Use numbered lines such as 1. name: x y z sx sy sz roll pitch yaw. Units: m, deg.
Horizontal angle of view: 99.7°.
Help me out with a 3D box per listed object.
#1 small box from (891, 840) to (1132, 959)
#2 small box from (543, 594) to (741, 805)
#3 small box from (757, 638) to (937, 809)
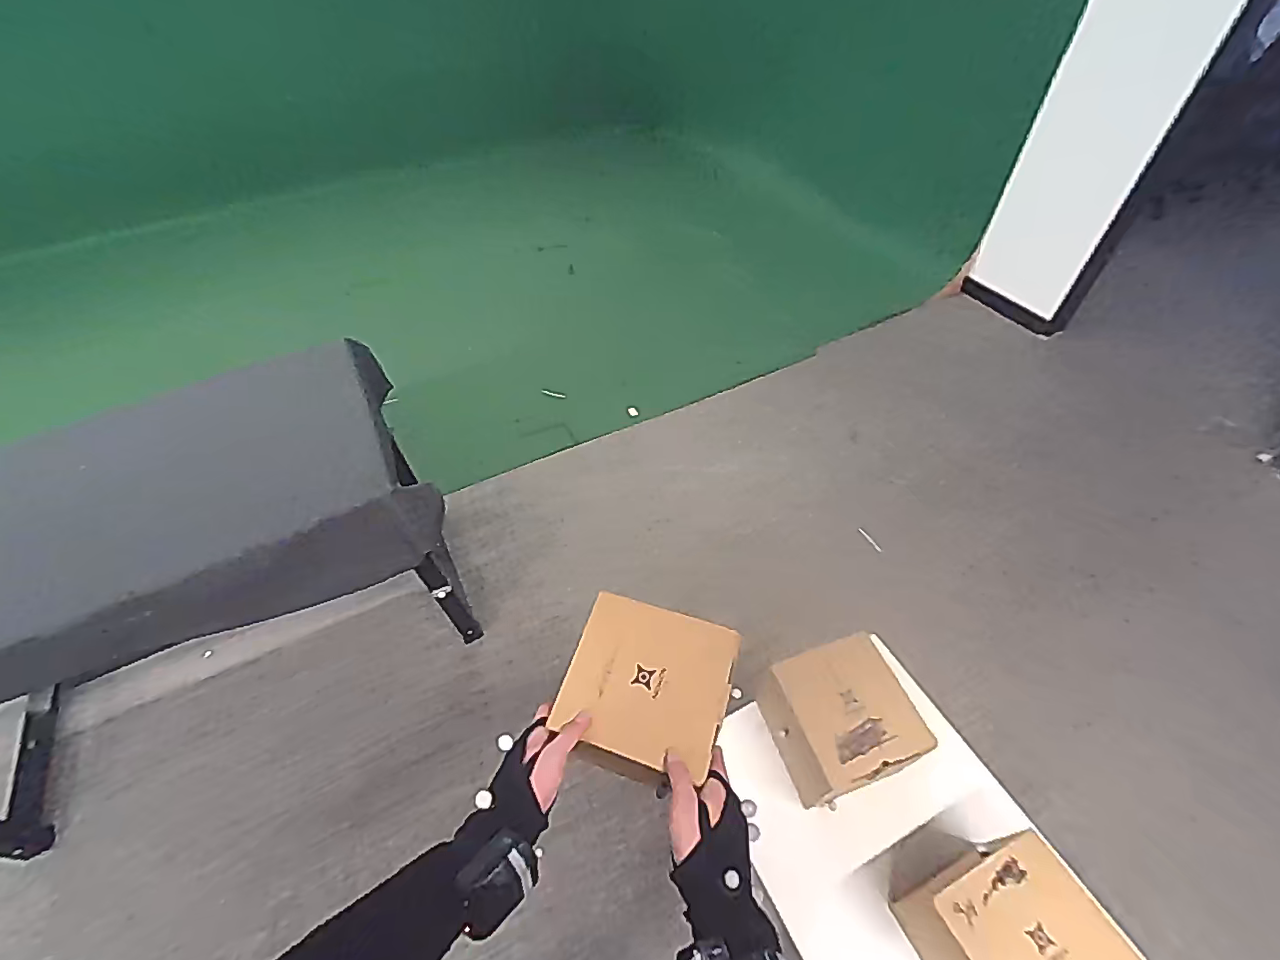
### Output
1. small box: 0.442 0.569 0.644 0.168 0.176 0.179 -20 52 -15
2. small box: 0.011 0.264 0.639 0.179 0.176 0.168 12 53 13
3. small box: 0.295 0.372 0.815 0.168 0.176 0.179 -14 51 -12
